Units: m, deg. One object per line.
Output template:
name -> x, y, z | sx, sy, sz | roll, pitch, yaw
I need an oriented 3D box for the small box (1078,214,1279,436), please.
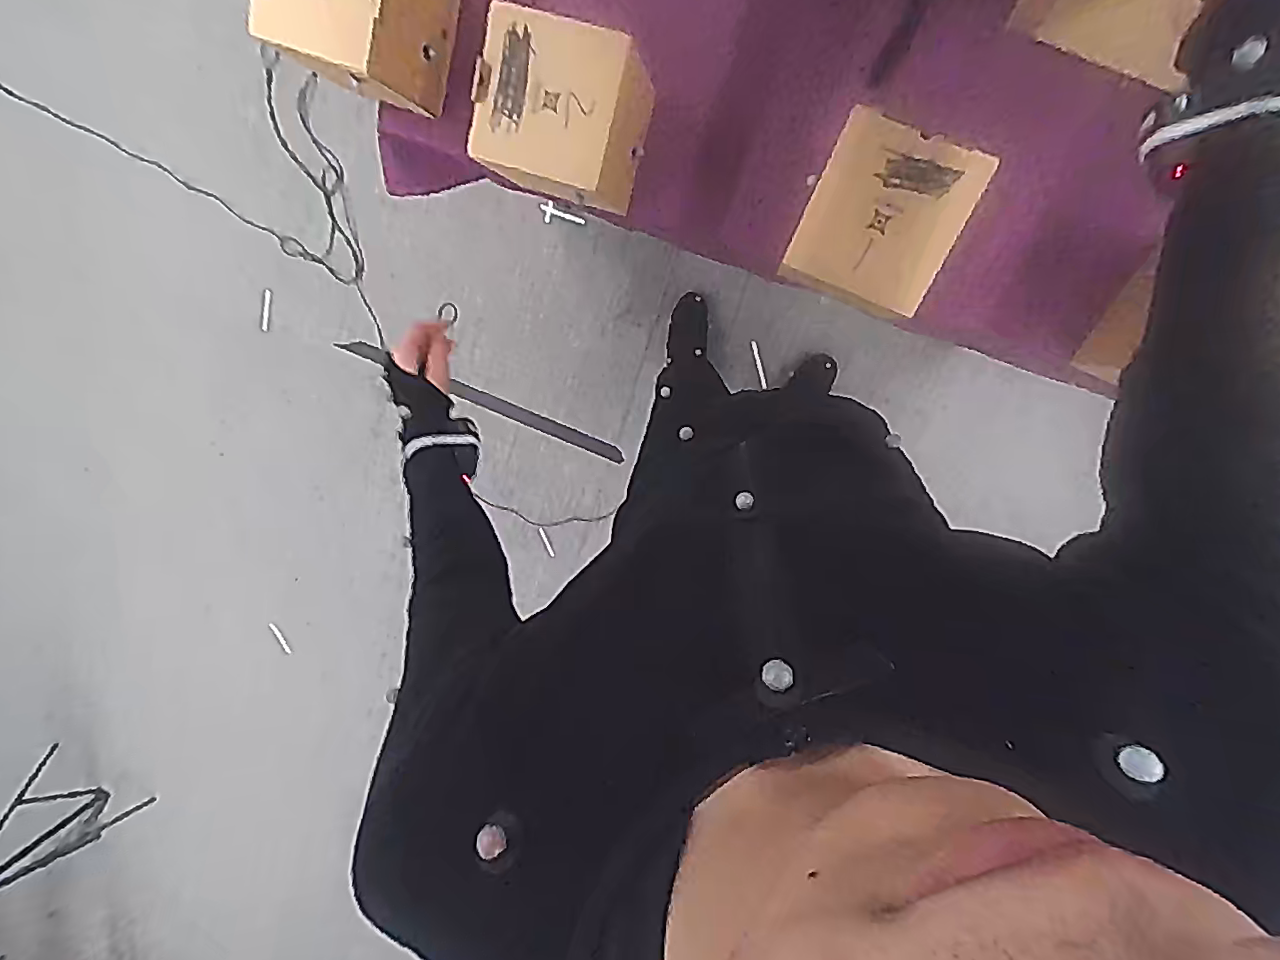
small box -> 0.678, -0.175, 0.633 | 0.168, 0.176, 0.179 | 28, 110, 4

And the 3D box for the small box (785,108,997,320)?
small box -> 0.291, -0.316, 0.680 | 0.168, 0.176, 0.179 | 25, 111, 5

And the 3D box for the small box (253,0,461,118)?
small box -> -0.376, -0.627, 0.735 | 0.179, 0.176, 0.168 | 20, 109, 5
